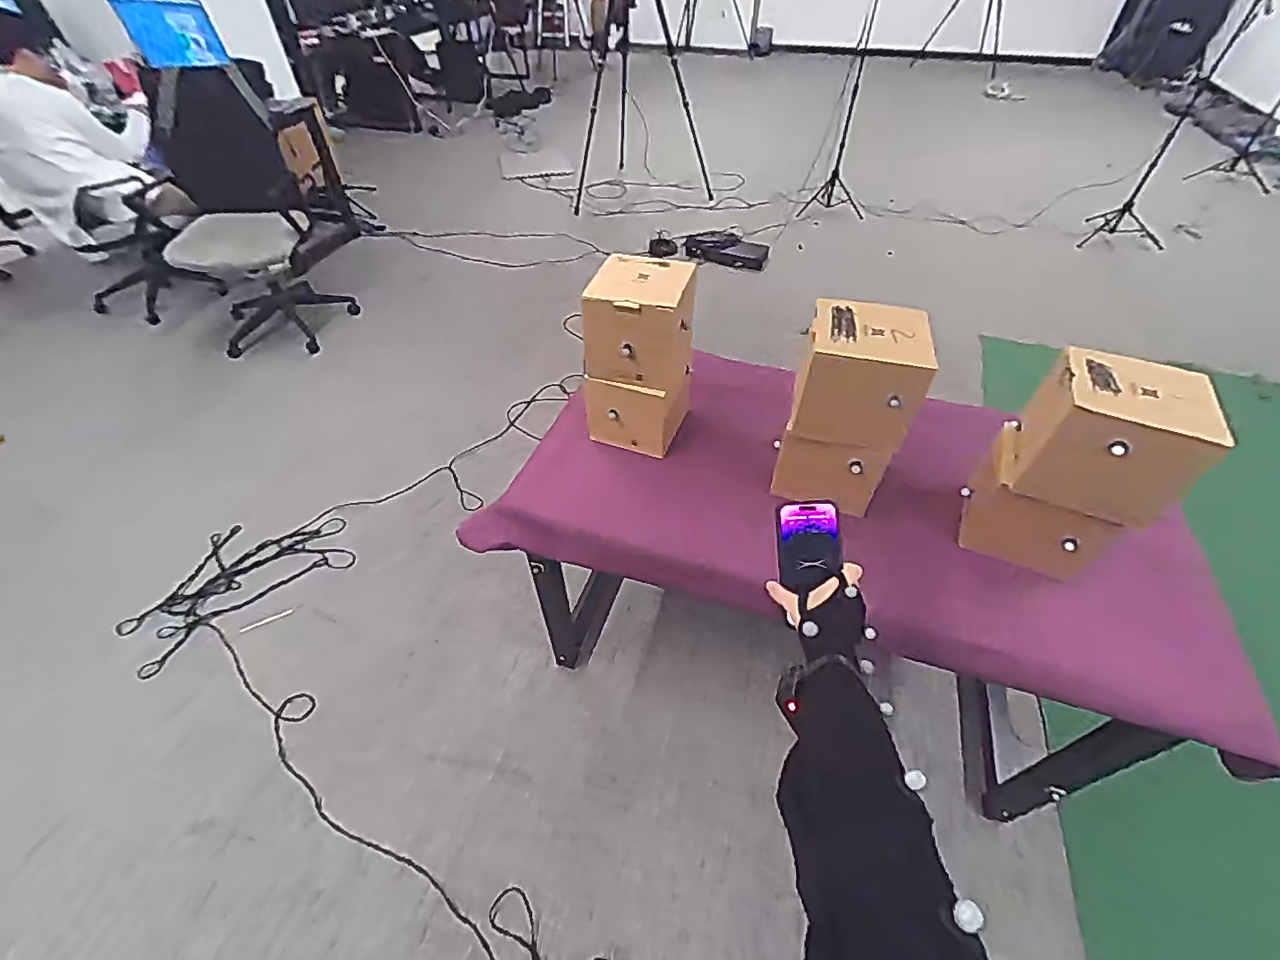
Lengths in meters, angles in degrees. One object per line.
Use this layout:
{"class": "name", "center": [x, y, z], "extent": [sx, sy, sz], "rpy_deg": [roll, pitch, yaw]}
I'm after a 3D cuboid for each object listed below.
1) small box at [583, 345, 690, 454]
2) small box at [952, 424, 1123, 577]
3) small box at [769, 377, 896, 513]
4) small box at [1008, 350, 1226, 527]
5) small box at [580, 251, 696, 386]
{"class": "small box", "center": [-0.002, -0.180, 1.121], "extent": [0.168, 0.176, 0.179], "rpy_deg": [16, 49, 15]}
{"class": "small box", "center": [0.666, 0.039, 0.919], "extent": [0.179, 0.176, 0.168], "rpy_deg": [21, 50, 19]}
{"class": "small box", "center": [0.355, -0.062, 1.010], "extent": [0.179, 0.176, 0.168], "rpy_deg": [16, 49, 14]}
{"class": "small box", "center": [0.669, -0.059, 0.787], "extent": [0.179, 0.176, 0.168], "rpy_deg": [21, 50, 18]}
{"class": "small box", "center": [0.001, -0.297, 1.005], "extent": [0.168, 0.176, 0.179], "rpy_deg": [13, 49, 11]}
